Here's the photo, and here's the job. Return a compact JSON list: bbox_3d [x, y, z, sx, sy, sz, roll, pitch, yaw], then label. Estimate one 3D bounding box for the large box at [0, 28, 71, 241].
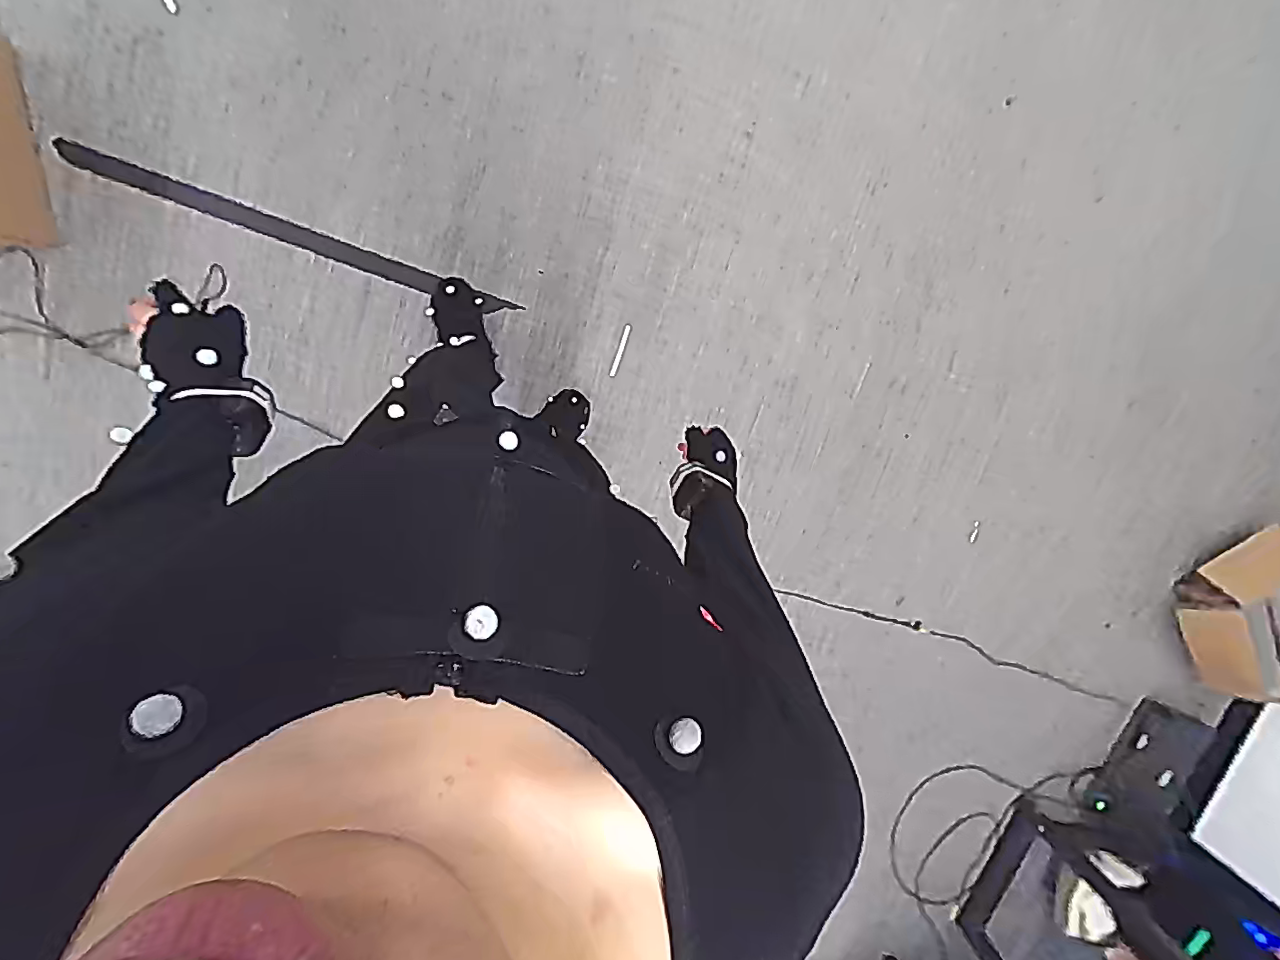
[{"bbox_3d":[-1.420,-0.691,1.016,0.320,0.320,0.408,-3,105,-8],"label":"large box"}]
